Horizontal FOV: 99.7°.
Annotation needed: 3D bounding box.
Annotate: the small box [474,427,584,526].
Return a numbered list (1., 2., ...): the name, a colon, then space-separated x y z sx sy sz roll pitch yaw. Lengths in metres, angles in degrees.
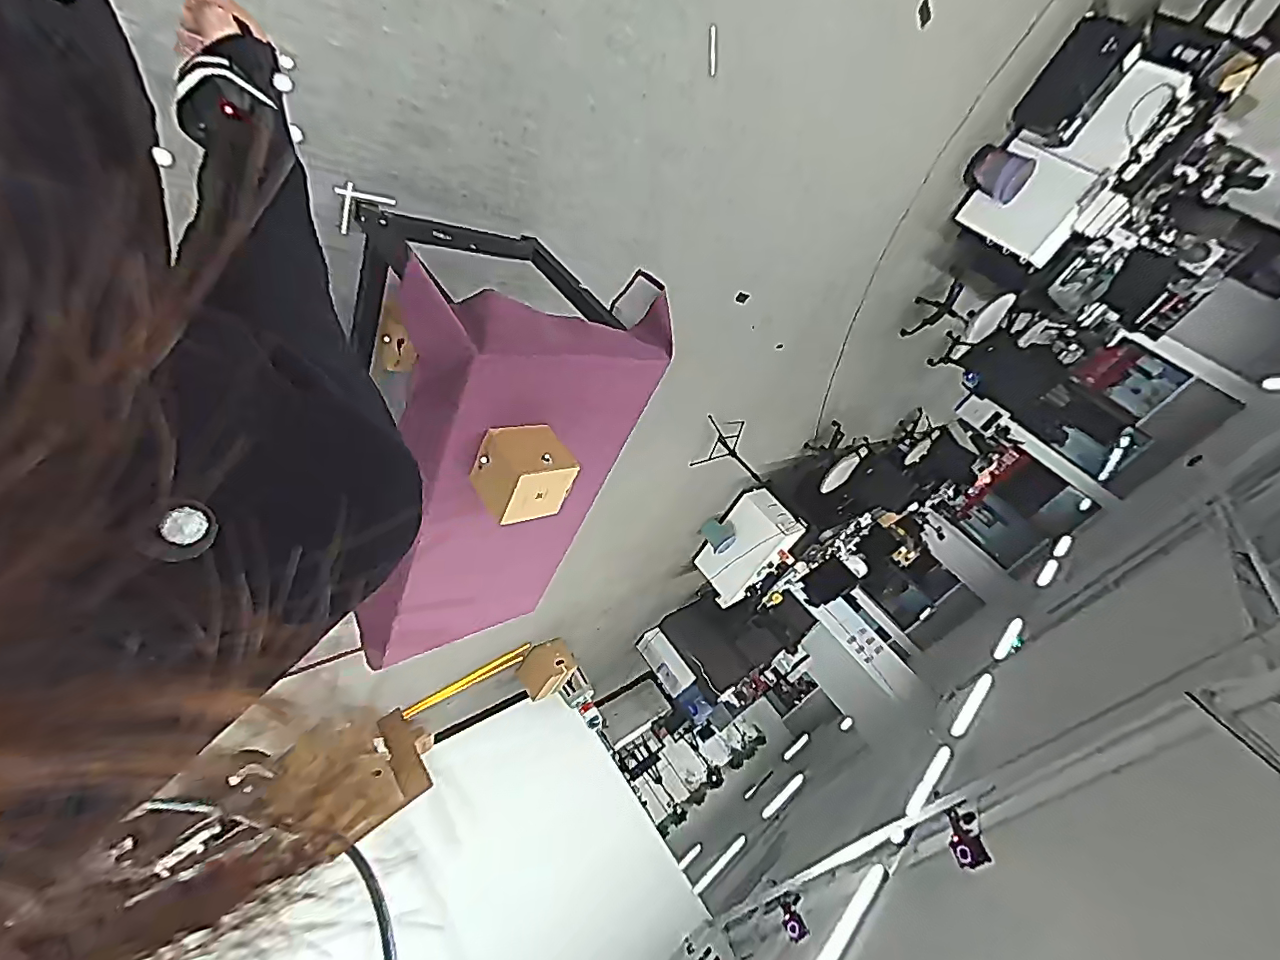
1. small box: -0.275 -0.016 1.325 0.179 0.176 0.168 -10 141 -46
